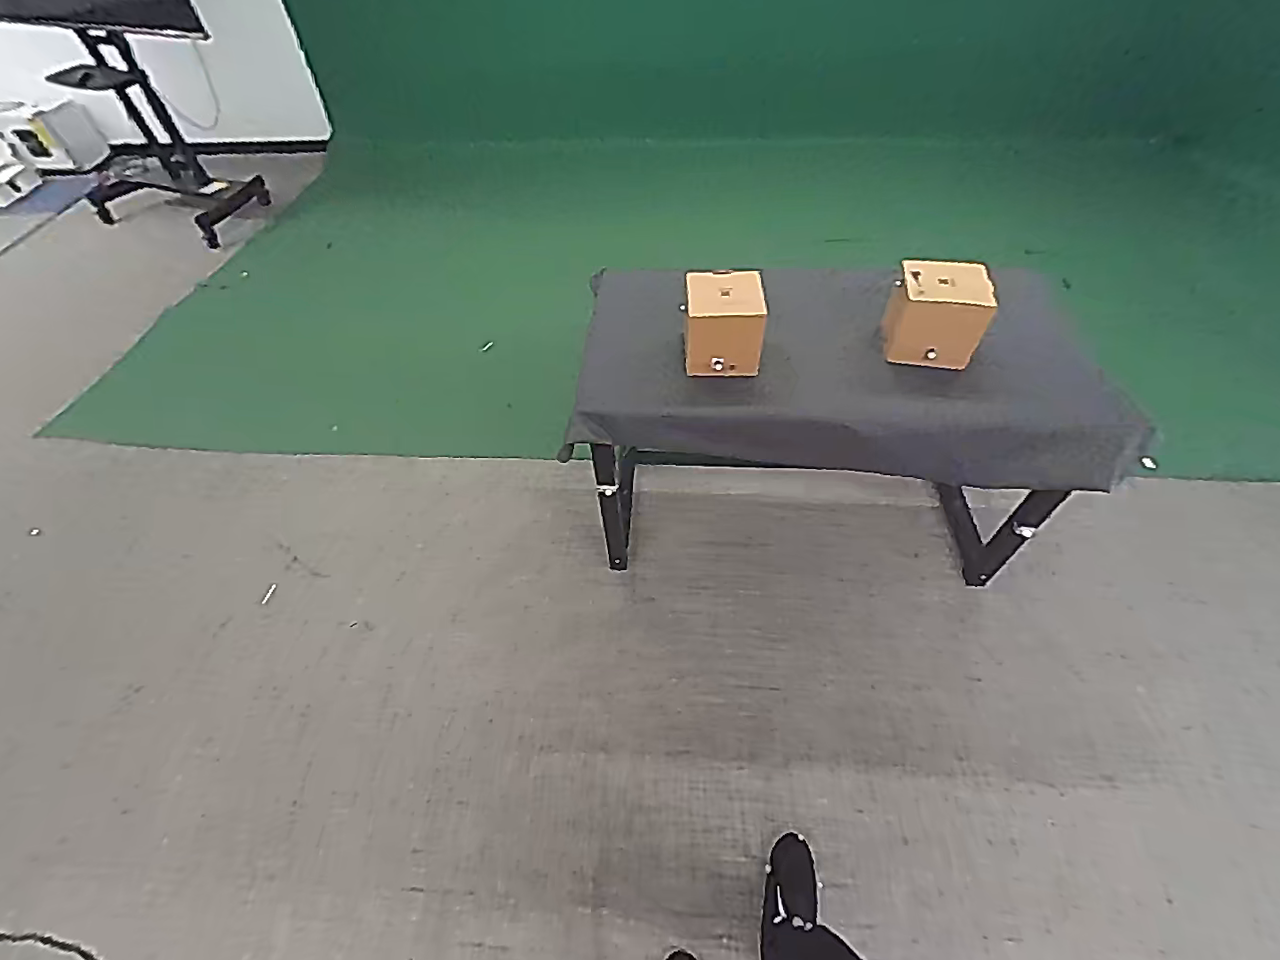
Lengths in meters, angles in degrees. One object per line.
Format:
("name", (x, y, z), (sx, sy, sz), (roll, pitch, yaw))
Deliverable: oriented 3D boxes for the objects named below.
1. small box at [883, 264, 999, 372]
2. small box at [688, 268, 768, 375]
("small box", (0.678, -0.368, 1.239), (0.179, 0.176, 0.168), (9, 52, 9))
("small box", (0.194, -0.362, 1.235), (0.168, 0.176, 0.179), (0, 51, 5))
